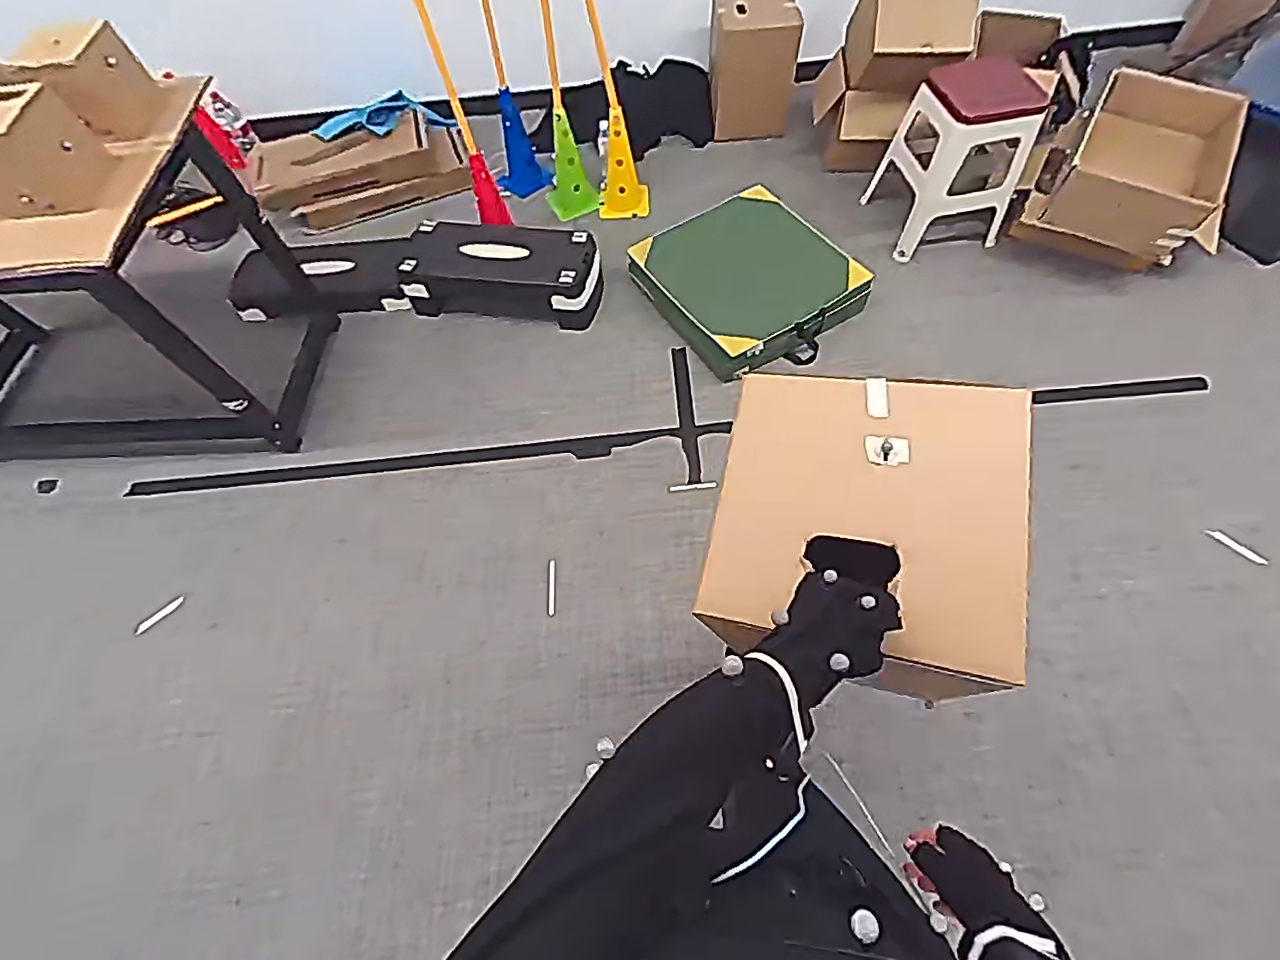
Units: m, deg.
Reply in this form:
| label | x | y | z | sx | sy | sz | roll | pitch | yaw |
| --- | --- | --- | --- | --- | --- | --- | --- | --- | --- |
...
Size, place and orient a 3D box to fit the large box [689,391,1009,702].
| label | x | y | z | sx | sy | sz | roll | pitch | yaw |
| --- | --- | --- | --- | --- | --- | --- | --- | --- | --- |
| large box | 0.294 | 0.109 | 0.764 | 0.320 | 0.408 | 0.320 | 8 | 70 | 23 |
